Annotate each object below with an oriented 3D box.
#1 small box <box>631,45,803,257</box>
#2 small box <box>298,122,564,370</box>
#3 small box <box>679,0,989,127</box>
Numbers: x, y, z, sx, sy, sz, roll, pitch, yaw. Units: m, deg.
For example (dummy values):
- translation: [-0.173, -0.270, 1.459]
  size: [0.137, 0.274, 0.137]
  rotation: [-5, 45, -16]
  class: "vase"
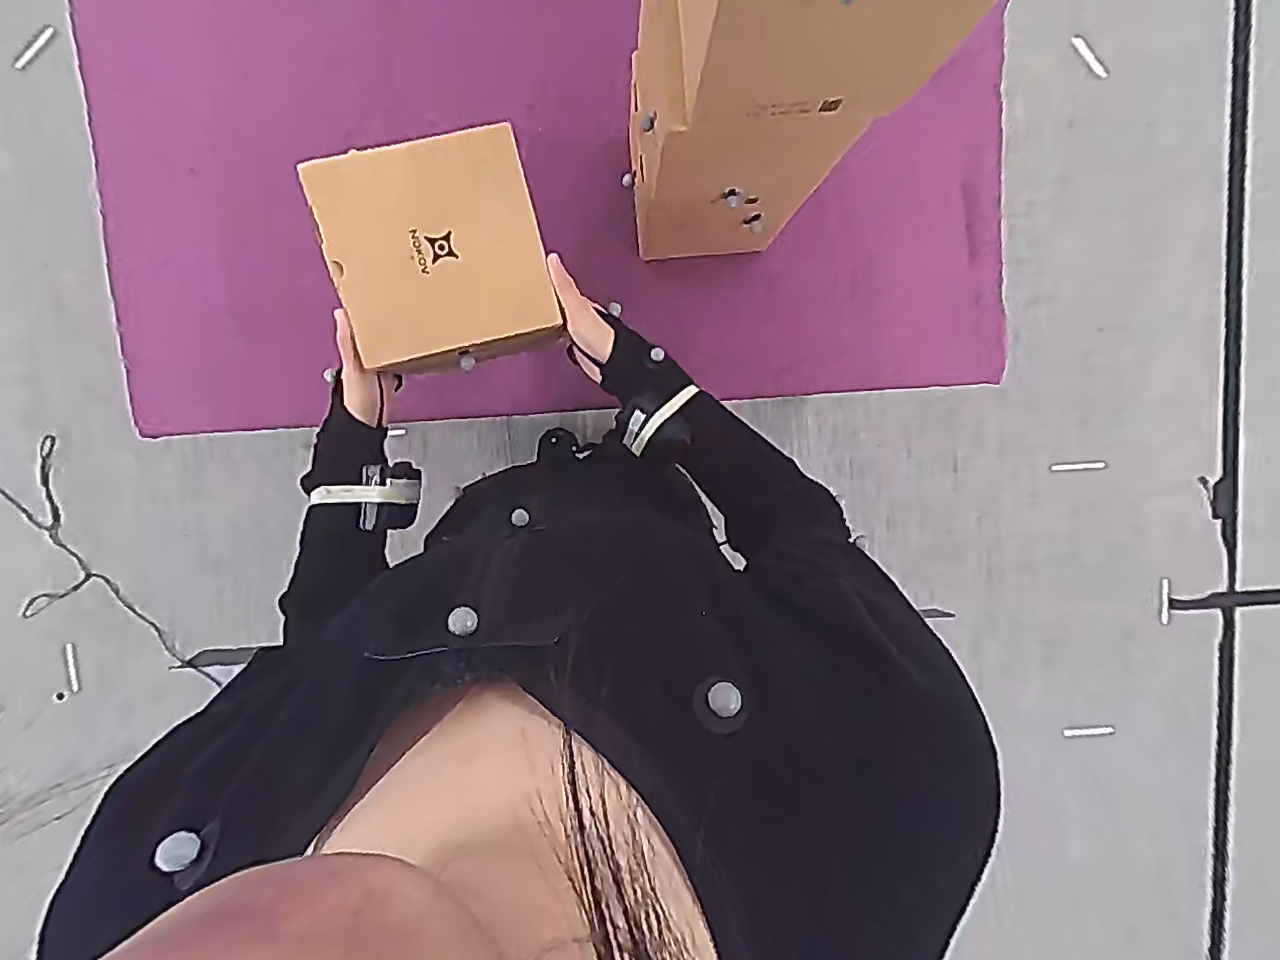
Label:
- translation: [0.082, -0.383, 0.653]
  size: [0.179, 0.176, 0.168]
  rotation: [-5, 95, -1]
  class: "small box"
- translation: [-0.178, -0.207, 0.524]
  size: [0.179, 0.176, 0.168]
  rotation: [-15, 101, -4]
  class: "small box"
- translation: [0.112, -0.355, 0.327]
  size: [0.168, 0.176, 0.179]
  rotation: [-5, 95, -1]
  class: "small box"
